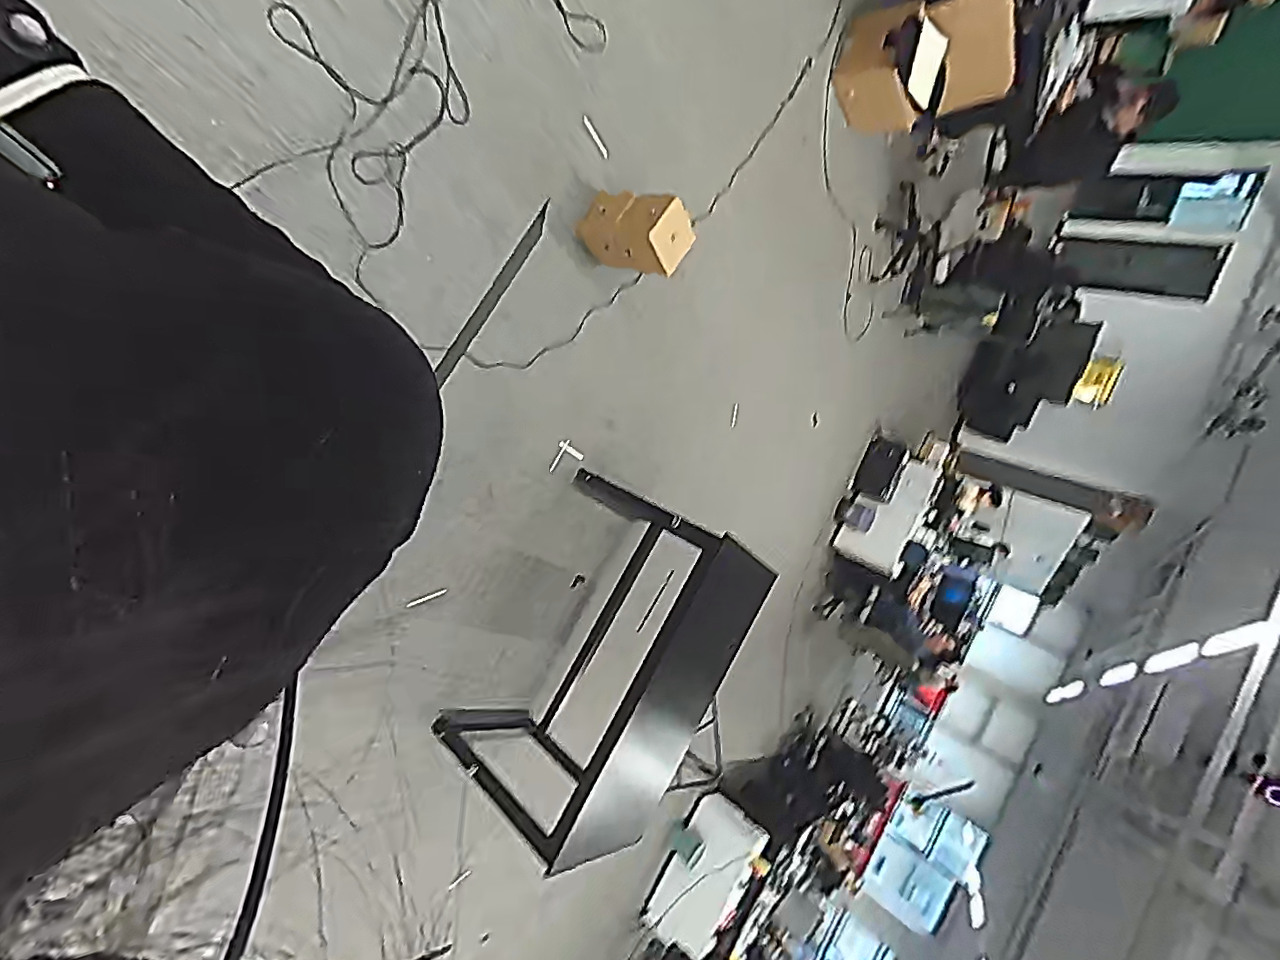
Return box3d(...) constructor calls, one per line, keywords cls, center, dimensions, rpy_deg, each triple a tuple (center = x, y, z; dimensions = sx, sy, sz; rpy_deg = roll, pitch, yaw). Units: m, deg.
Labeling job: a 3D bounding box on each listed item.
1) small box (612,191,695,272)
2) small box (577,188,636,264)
box3d(cls="small box", center=(0.041, -0.800, 1.734), dimensions=(0.179, 0.176, 0.168), rpy_deg=(-57, 142, -10))
box3d(cls="small box", center=(-0.082, -0.854, 1.827), dimensions=(0.168, 0.176, 0.179), rpy_deg=(-60, 143, -7))
